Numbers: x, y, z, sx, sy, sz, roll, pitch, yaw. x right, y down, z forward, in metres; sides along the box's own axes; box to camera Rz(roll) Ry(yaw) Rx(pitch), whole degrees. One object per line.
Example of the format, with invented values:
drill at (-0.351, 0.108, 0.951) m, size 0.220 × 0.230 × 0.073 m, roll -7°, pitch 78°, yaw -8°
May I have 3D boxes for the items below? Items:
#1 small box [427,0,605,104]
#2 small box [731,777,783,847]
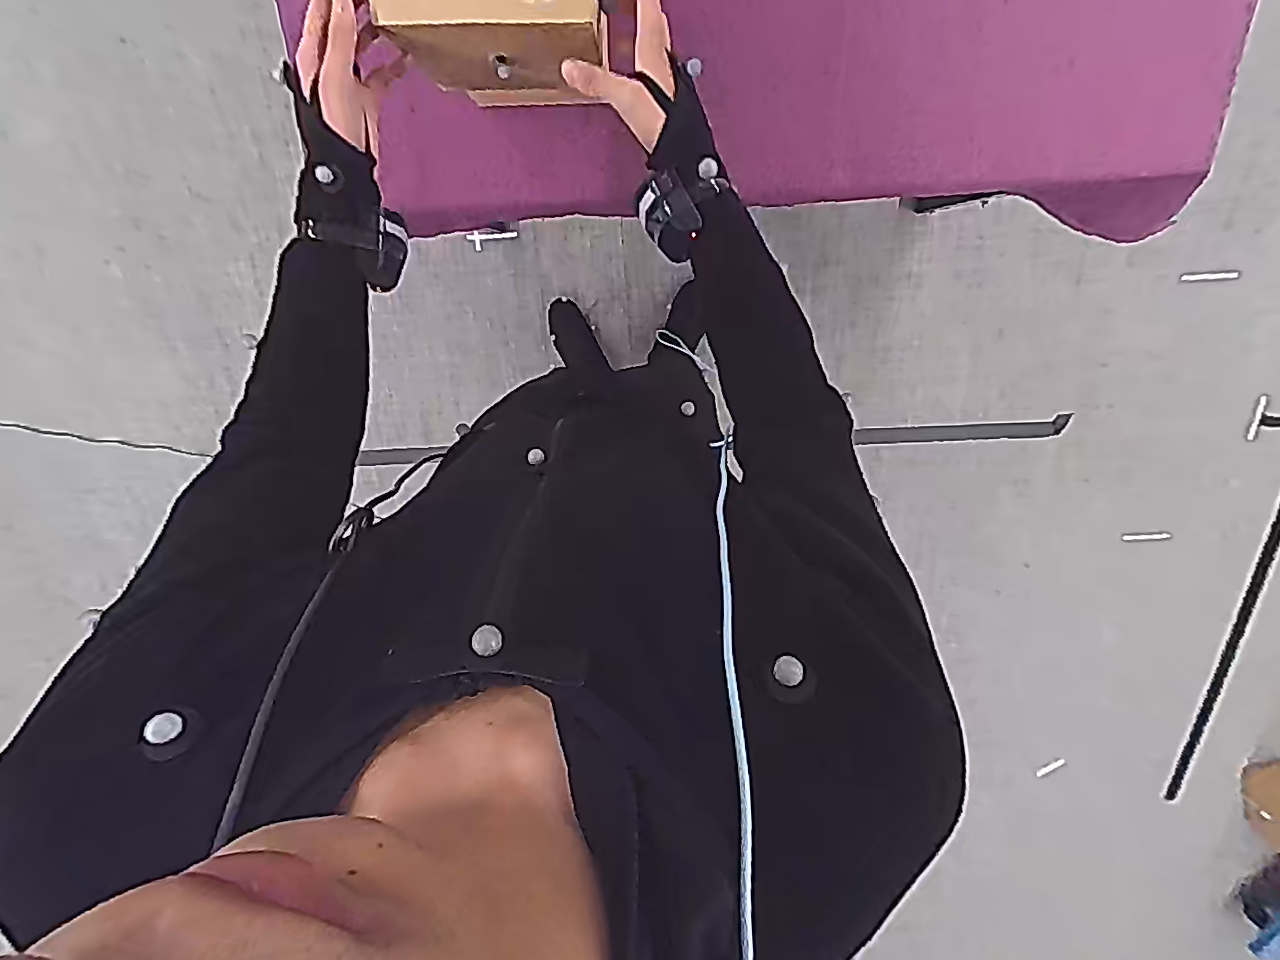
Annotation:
small box at (-0.128, -0.541, 0.604) m, size 0.179 × 0.176 × 0.168 m, roll -1°, pitch 111°, yaw 0°
small box at (0.450, 1.285, 2.104) m, size 0.168 × 0.176 × 0.179 m, roll -2°, pitch 112°, yaw 0°
